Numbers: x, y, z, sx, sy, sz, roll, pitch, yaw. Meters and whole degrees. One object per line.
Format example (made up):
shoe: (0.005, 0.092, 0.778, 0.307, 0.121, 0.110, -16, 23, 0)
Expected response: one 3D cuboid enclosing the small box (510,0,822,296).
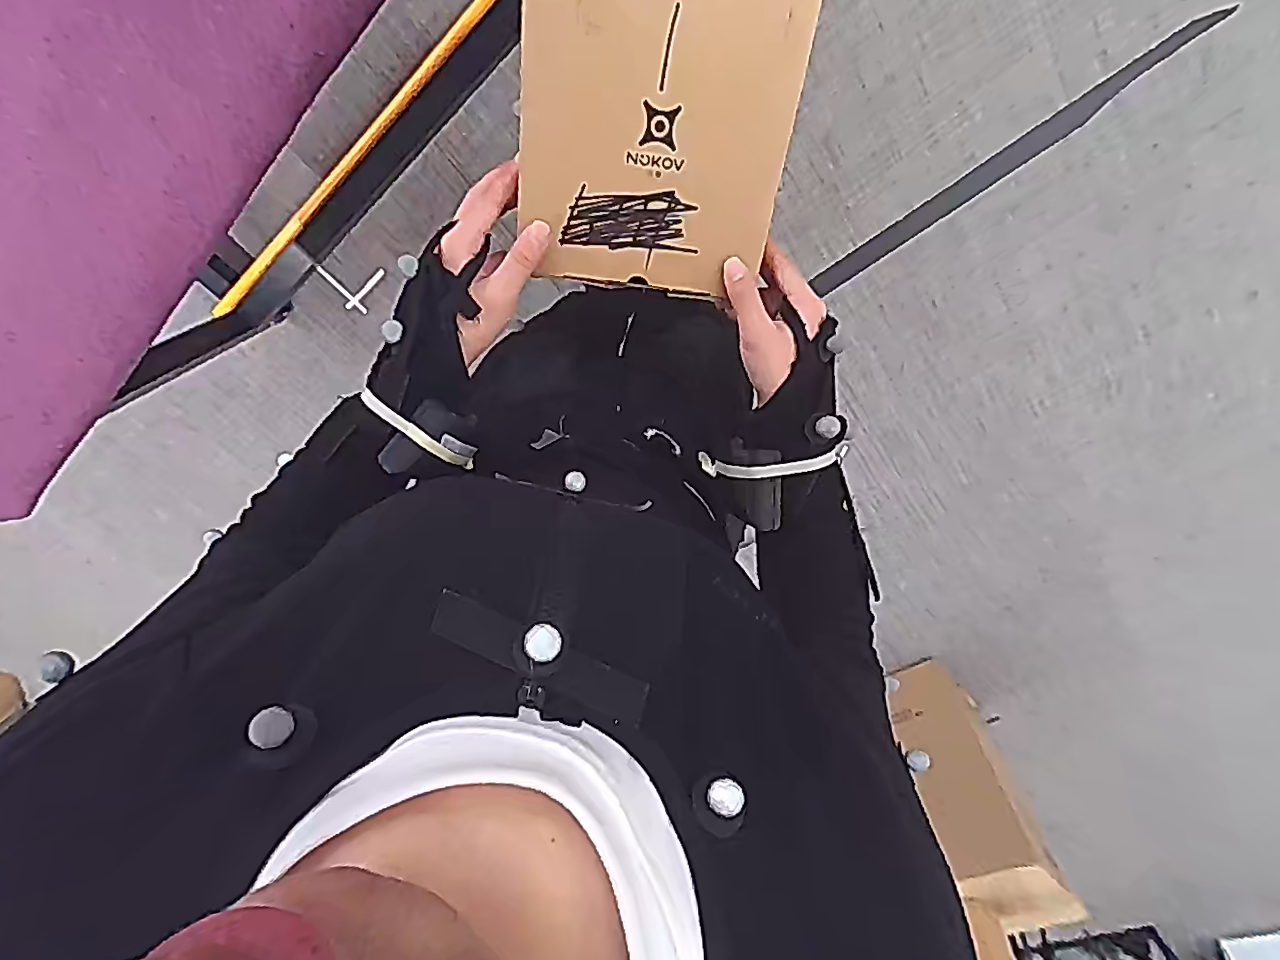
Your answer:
small box: (0.004, -0.248, 0.386, 0.168, 0.176, 0.179, 5, 120, -7)
